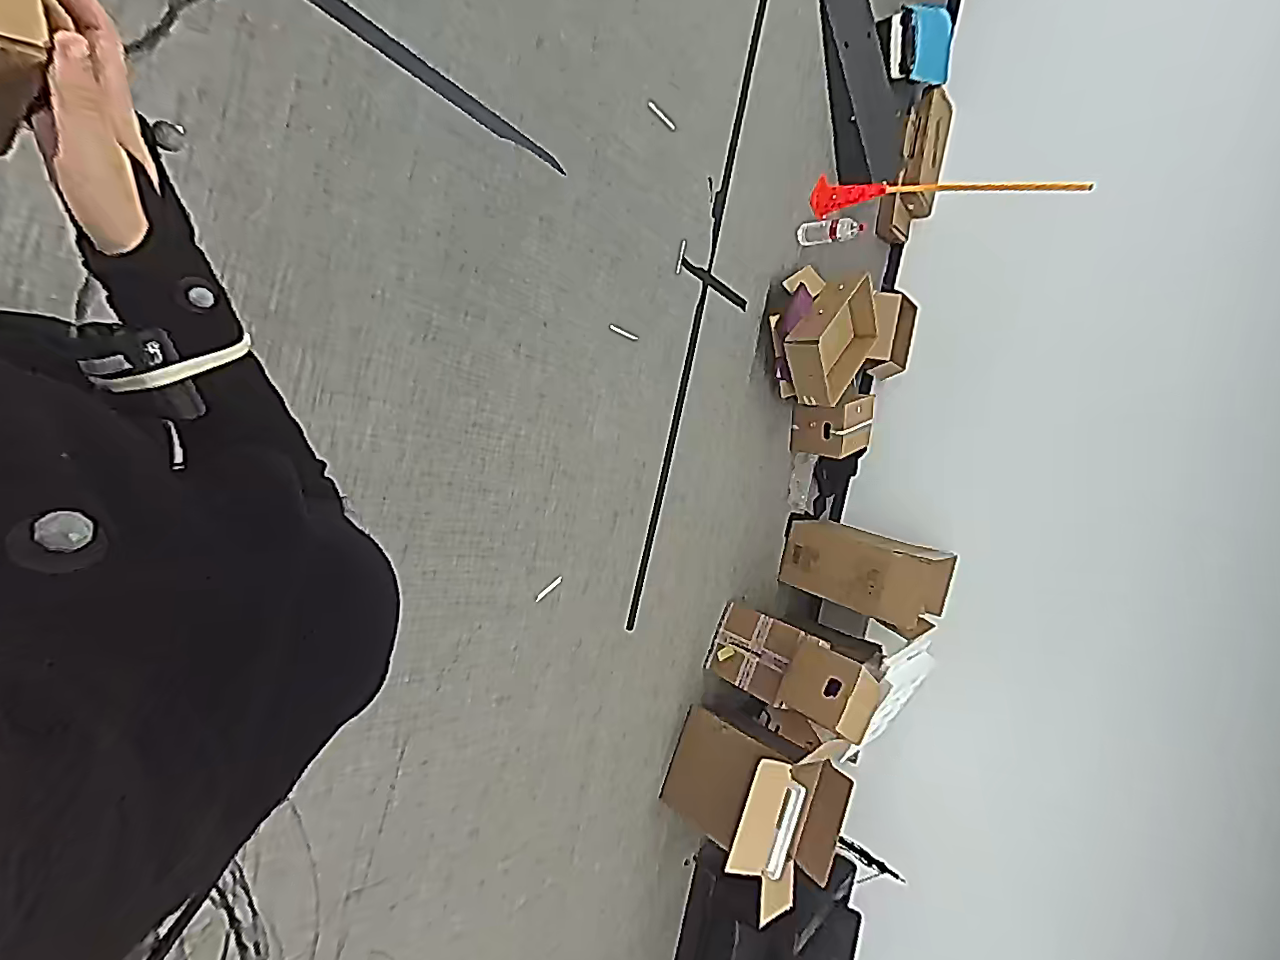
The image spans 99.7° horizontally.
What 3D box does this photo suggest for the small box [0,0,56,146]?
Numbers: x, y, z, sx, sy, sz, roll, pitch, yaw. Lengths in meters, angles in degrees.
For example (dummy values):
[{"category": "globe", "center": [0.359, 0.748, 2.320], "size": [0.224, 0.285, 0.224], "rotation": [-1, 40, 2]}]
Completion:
[{"category": "small box", "center": [-0.386, -0.265, 0.219], "size": [0.168, 0.176, 0.179], "rotation": [-19, 111, -52]}]
